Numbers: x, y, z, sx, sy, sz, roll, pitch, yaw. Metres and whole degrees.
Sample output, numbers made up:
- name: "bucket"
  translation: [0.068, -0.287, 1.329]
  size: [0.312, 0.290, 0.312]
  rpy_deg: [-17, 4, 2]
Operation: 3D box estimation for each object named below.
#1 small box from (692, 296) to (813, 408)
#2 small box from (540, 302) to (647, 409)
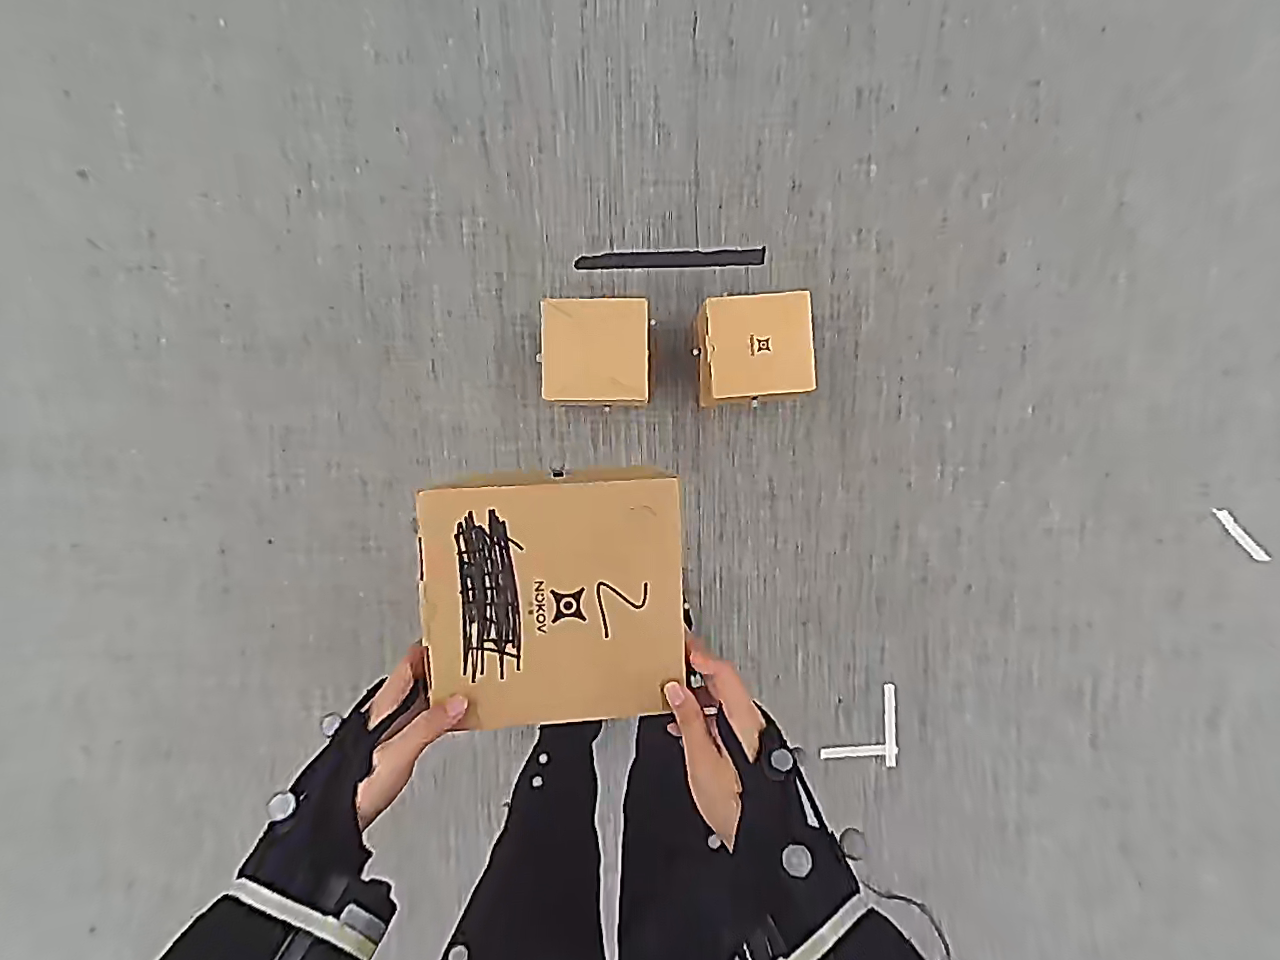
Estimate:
- name: "small box"
  translation: [0.194, -0.222, 0.972]
  size: [0.179, 0.176, 0.168]
  rpy_deg: [-5, 94, 0]
- name: "small box"
  translation: [-0.076, -0.214, 0.966]
  size: [0.179, 0.176, 0.168]
  rpy_deg: [0, 94, -1]
